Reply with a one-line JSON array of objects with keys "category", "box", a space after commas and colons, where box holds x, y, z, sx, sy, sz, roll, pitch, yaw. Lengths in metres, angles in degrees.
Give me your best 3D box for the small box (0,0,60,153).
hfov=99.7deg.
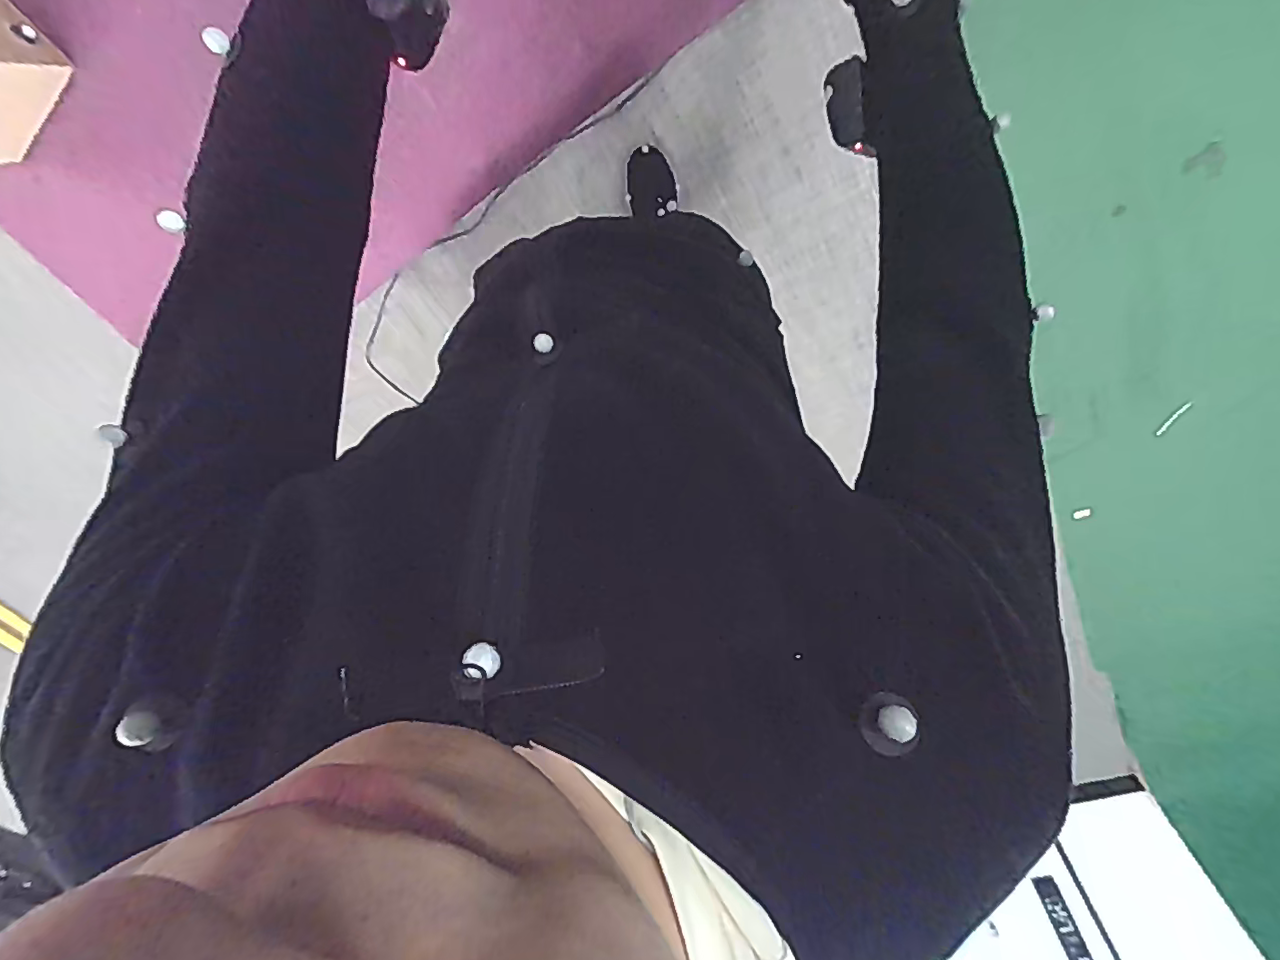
[{"category": "small box", "box": [-0.808, -0.478, 0.583, 0.179, 0.176, 0.168, -29, 118, 22]}]
